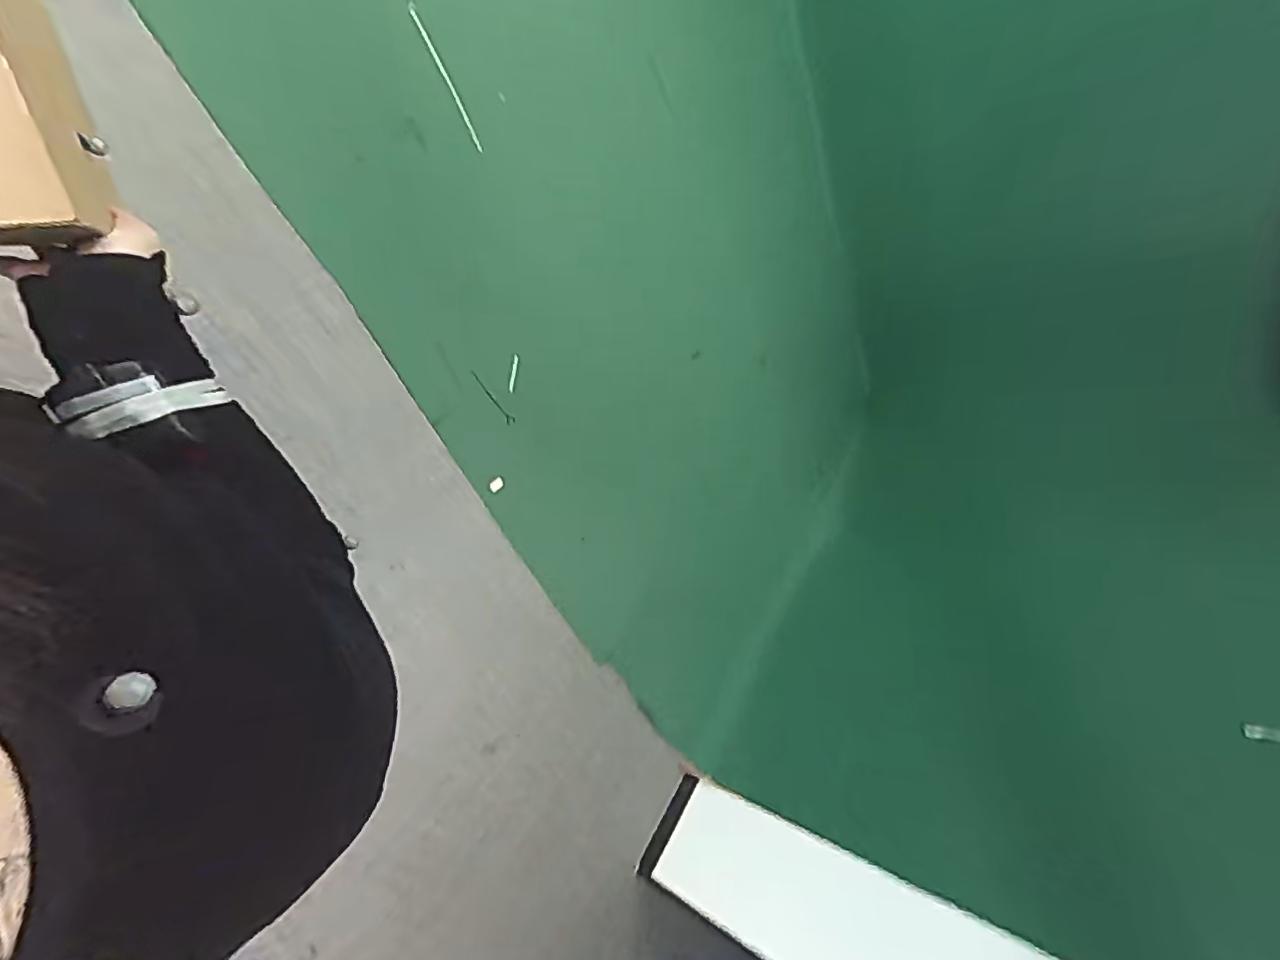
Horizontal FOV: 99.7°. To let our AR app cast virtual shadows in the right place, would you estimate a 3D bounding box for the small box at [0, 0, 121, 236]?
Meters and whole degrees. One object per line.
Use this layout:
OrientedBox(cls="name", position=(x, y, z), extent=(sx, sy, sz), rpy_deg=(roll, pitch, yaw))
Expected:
OrientedBox(cls="small box", position=(-0.504, -0.258, 0.366), extent=(0.179, 0.176, 0.168), rpy_deg=(-18, 119, -32))
